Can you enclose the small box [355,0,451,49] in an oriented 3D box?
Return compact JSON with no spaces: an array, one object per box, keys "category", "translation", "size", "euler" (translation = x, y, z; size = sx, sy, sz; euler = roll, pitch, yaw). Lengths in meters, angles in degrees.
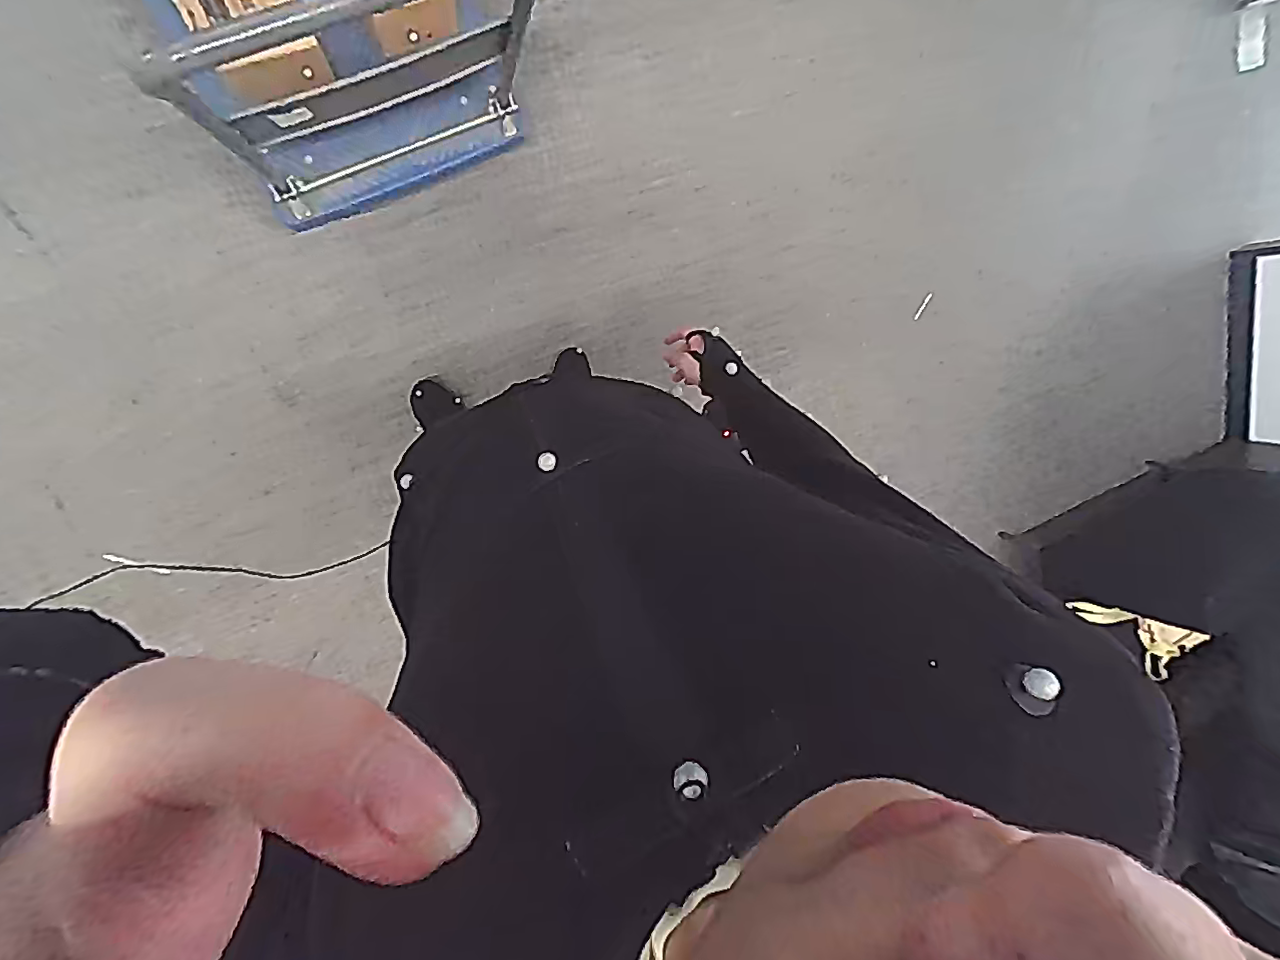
[{"category":"small box","translation":[-0.472,-0.970,1.018],"size":[0.168,0.176,0.179],"euler":[-27,111,-10]}]
